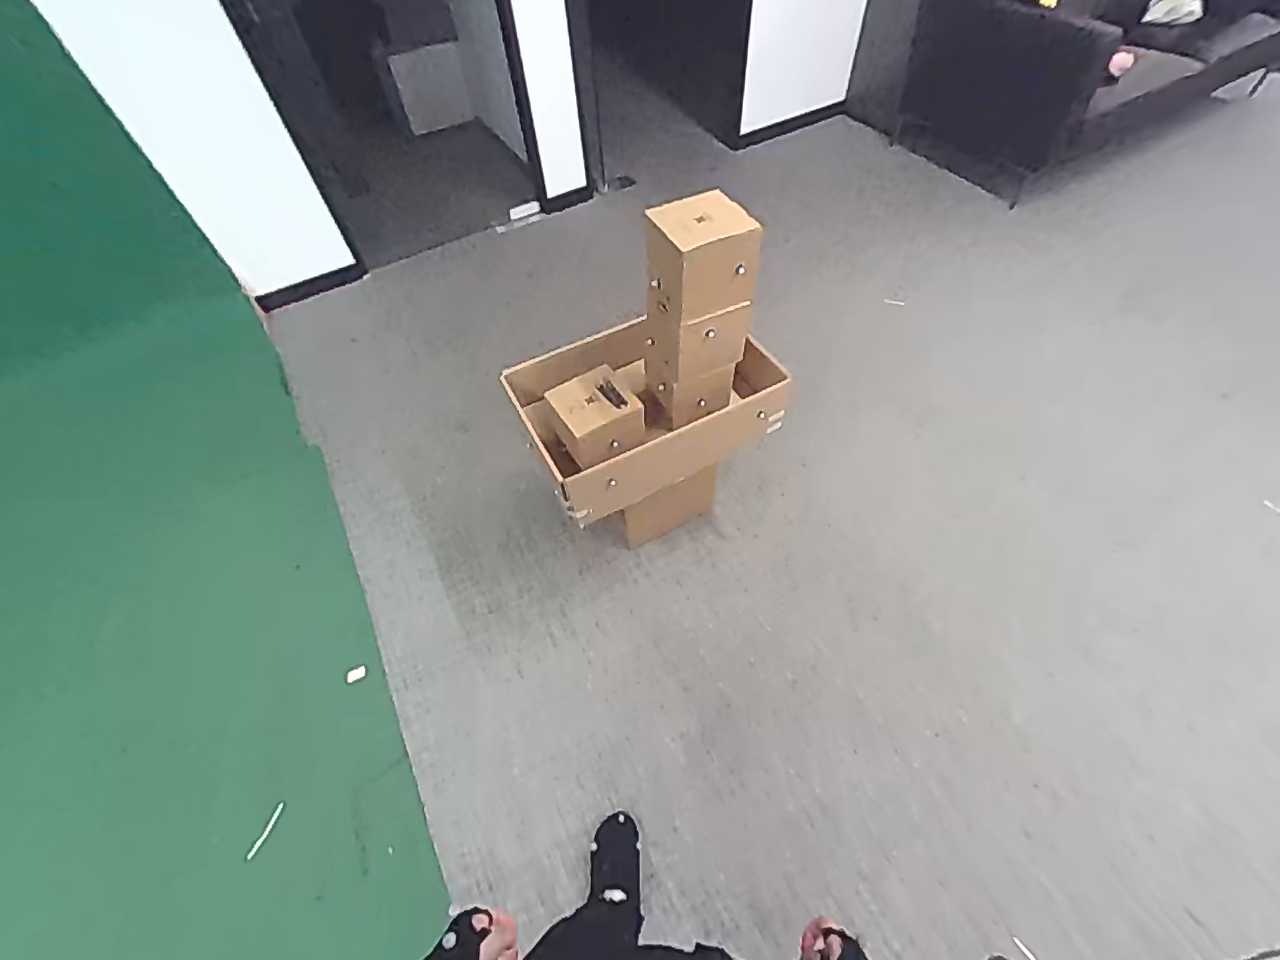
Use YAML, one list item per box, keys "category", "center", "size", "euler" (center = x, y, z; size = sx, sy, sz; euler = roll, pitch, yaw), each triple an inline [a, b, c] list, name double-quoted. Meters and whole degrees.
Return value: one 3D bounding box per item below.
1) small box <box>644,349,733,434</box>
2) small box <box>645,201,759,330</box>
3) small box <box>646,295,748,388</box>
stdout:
- category: "small box"
  center: [0.121, -0.240, 1.385]
  size: [0.168, 0.176, 0.179]
  euler: [-21, 55, -12]
- category: "small box"
  center: [0.122, -0.445, 1.130]
  size: [0.179, 0.176, 0.168]
  euler: [-23, 55, -13]
- category: "small box"
  center: [0.128, -0.341, 1.255]
  size: [0.179, 0.176, 0.168]
  euler: [-22, 56, -13]
